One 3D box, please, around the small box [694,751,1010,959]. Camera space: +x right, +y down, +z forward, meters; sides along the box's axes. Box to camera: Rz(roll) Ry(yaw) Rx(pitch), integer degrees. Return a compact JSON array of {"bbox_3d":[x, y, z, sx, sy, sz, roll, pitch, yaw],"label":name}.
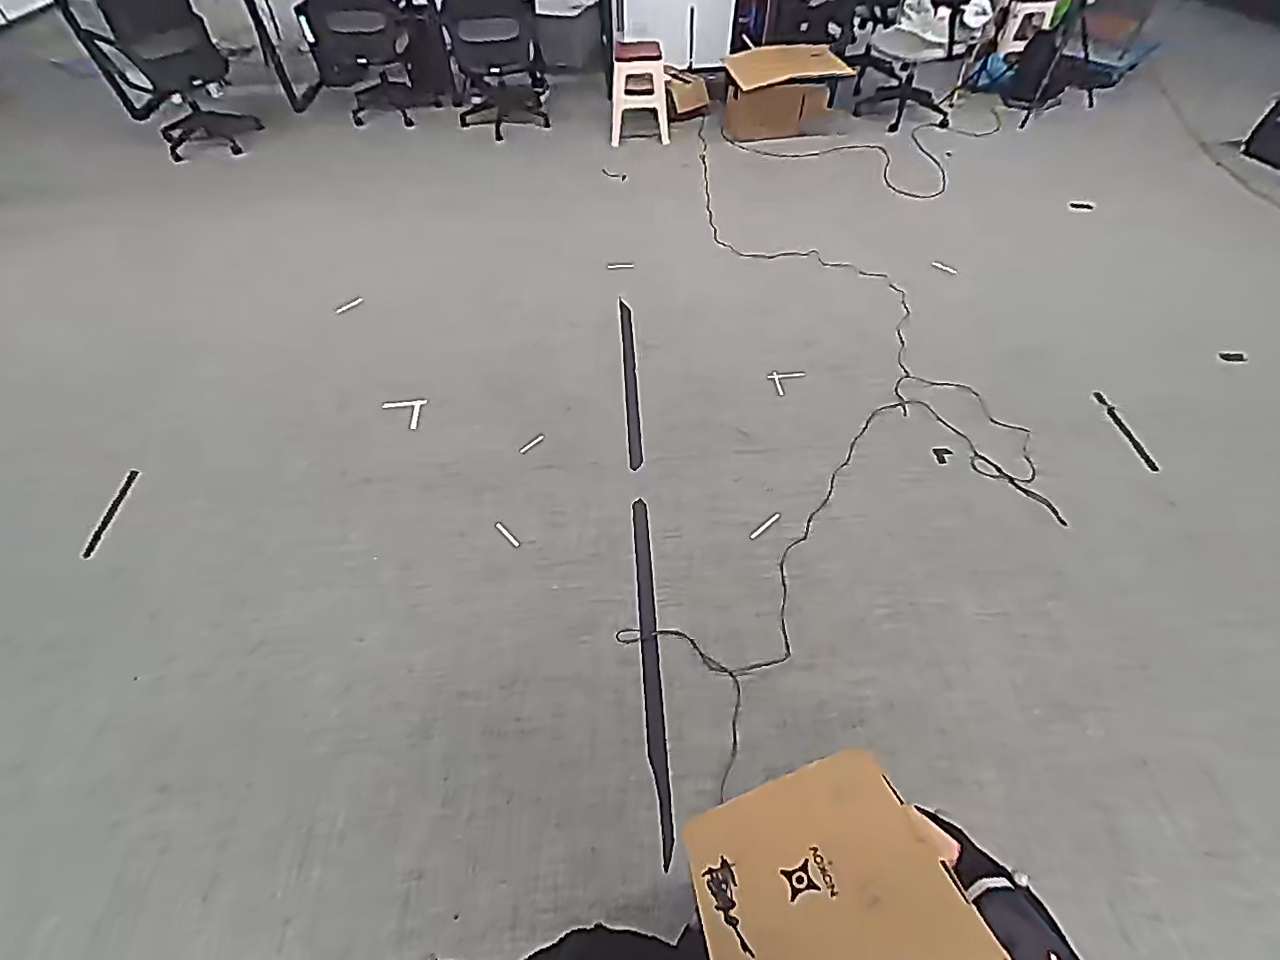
[{"bbox_3d":[0.164,0.364,0.427,0.179,0.176,0.168,-23,17,1],"label":"small box"}]
